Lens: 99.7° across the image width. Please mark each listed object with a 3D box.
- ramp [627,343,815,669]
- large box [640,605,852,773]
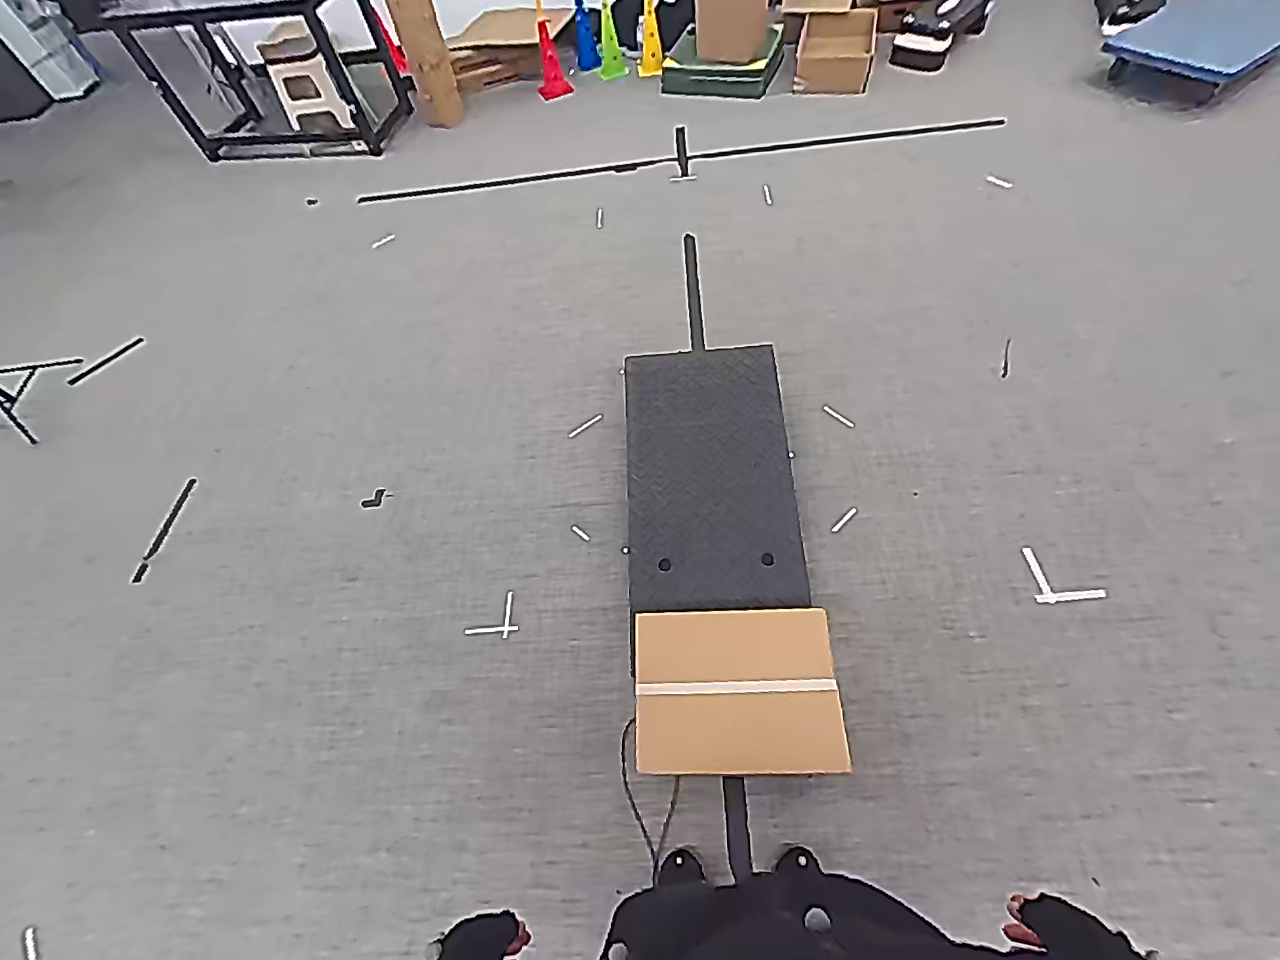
[{"bbox_3d":[0.216,0.029,1.606,0.509,0.206,0.991,-5,57,3],"label":"ramp"},{"bbox_3d":[0.218,0.486,1.233,0.408,0.320,0.320,-4,61,5],"label":"large box"}]
